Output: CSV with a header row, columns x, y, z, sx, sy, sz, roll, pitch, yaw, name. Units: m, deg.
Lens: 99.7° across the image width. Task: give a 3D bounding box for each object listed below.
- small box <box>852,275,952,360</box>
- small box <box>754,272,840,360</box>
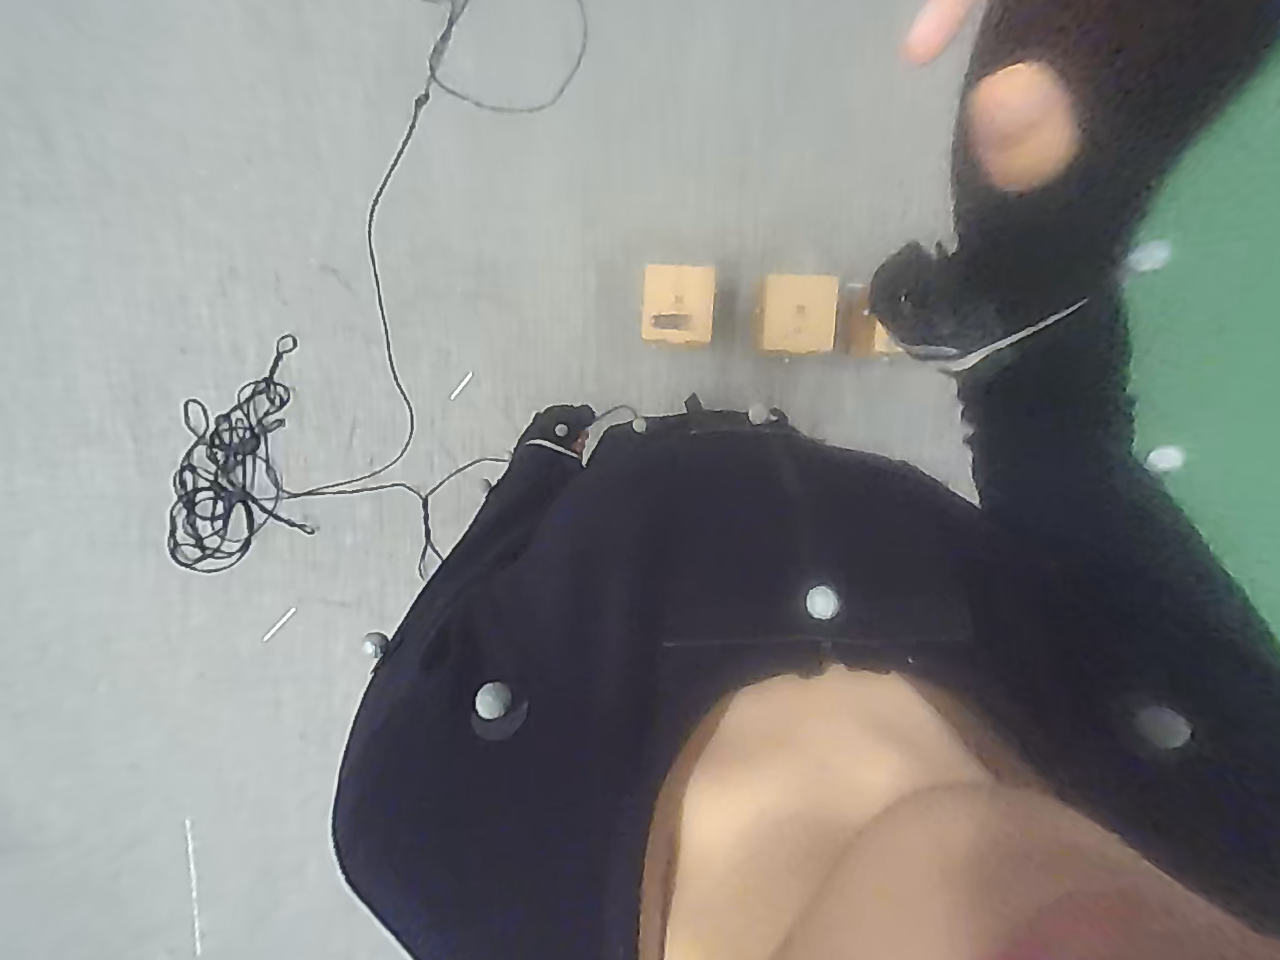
x,y,z,sx,sy,sz,roll,pitch,yaw,name
0.635,-0.393,1.331,0.168,0.176,0.179,1,96,2,small box
0.380,-0.399,1.336,0.168,0.176,0.179,3,96,3,small box
